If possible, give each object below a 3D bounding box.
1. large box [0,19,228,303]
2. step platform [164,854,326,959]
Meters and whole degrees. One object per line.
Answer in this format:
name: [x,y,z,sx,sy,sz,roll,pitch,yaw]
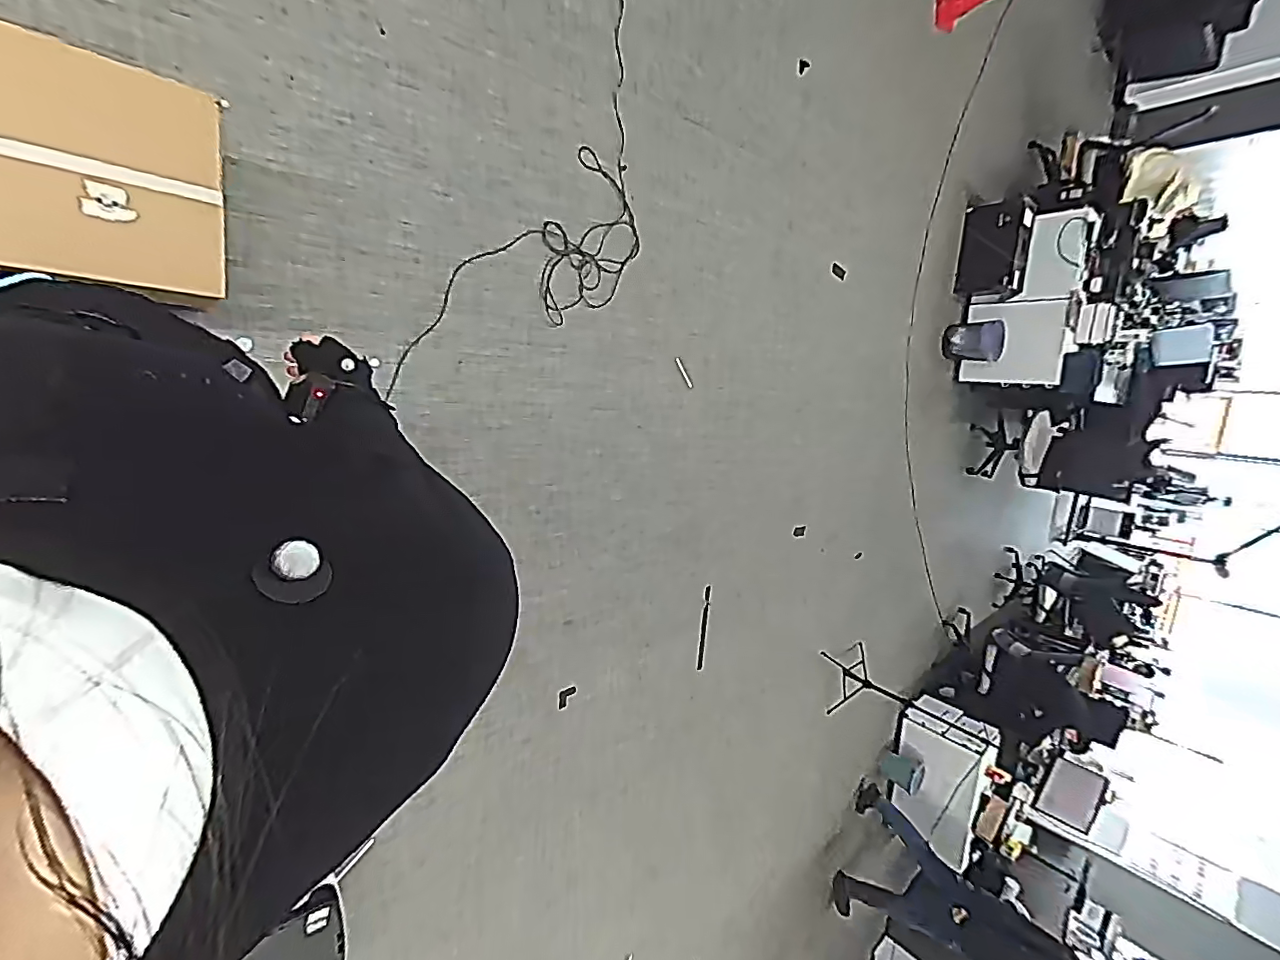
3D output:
large box: [-0.930,-0.482,0.862,0.408,0.320,0.320,-2,102,-42]
step platform: [-1.087,1.166,1.191,0.684,0.204,0.286,-7,105,-39]
